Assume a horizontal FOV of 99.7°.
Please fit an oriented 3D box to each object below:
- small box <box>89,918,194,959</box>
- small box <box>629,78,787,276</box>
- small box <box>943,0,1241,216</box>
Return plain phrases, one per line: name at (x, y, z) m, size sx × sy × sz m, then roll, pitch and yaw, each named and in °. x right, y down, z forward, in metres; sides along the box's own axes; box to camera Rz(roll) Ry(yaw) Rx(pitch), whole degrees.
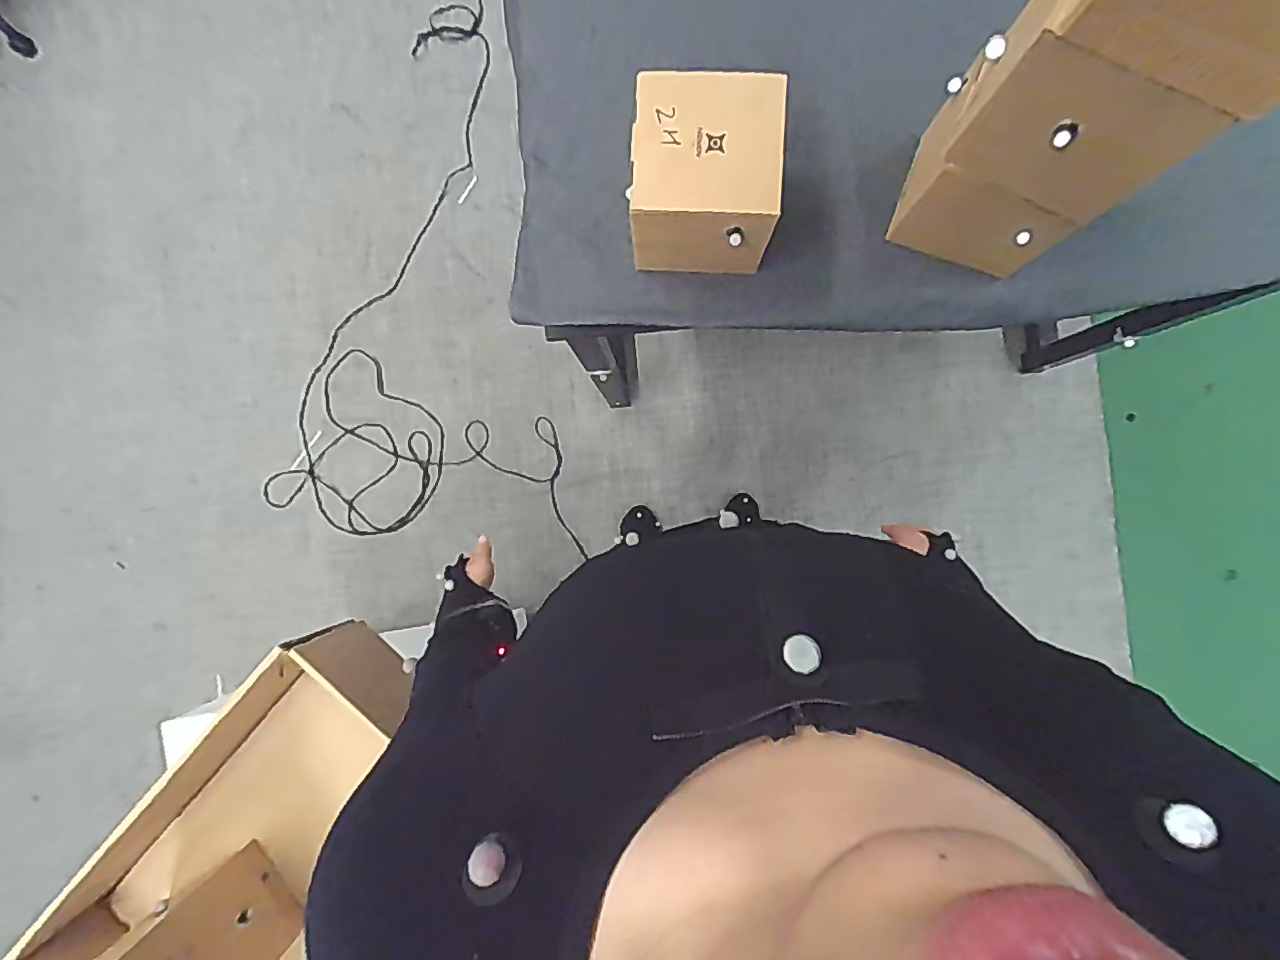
small box at (-0.657, 0.684, 0.633) m, size 0.179 × 0.176 × 0.168 m, roll -33°, pitch 90°, yaw 0°
small box at (0.082, -0.379, 0.703) m, size 0.179 × 0.176 × 0.168 m, roll 3°, pitch 88°, yaw 4°
small box at (0.441, -0.389, 0.519) m, size 0.179 × 0.176 × 0.168 m, roll 28°, pitch 89°, yaw 5°
